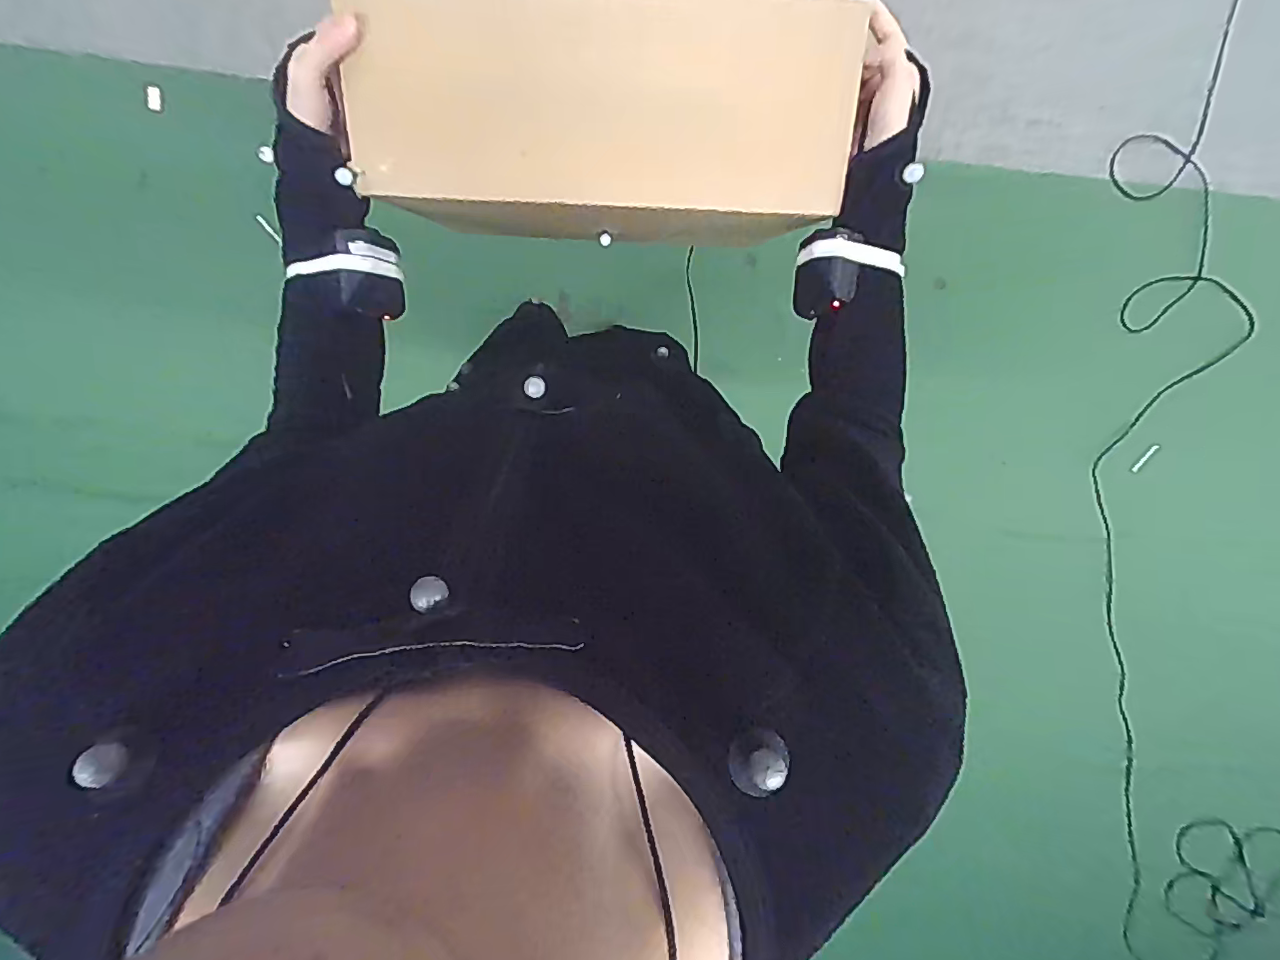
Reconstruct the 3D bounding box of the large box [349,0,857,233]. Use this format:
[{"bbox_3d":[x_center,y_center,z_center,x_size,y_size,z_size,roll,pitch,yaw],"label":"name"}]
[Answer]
[{"bbox_3d":[-0.030,-0.435,0.556,0.408,0.320,0.320,0,108,-4],"label":"large box"}]
